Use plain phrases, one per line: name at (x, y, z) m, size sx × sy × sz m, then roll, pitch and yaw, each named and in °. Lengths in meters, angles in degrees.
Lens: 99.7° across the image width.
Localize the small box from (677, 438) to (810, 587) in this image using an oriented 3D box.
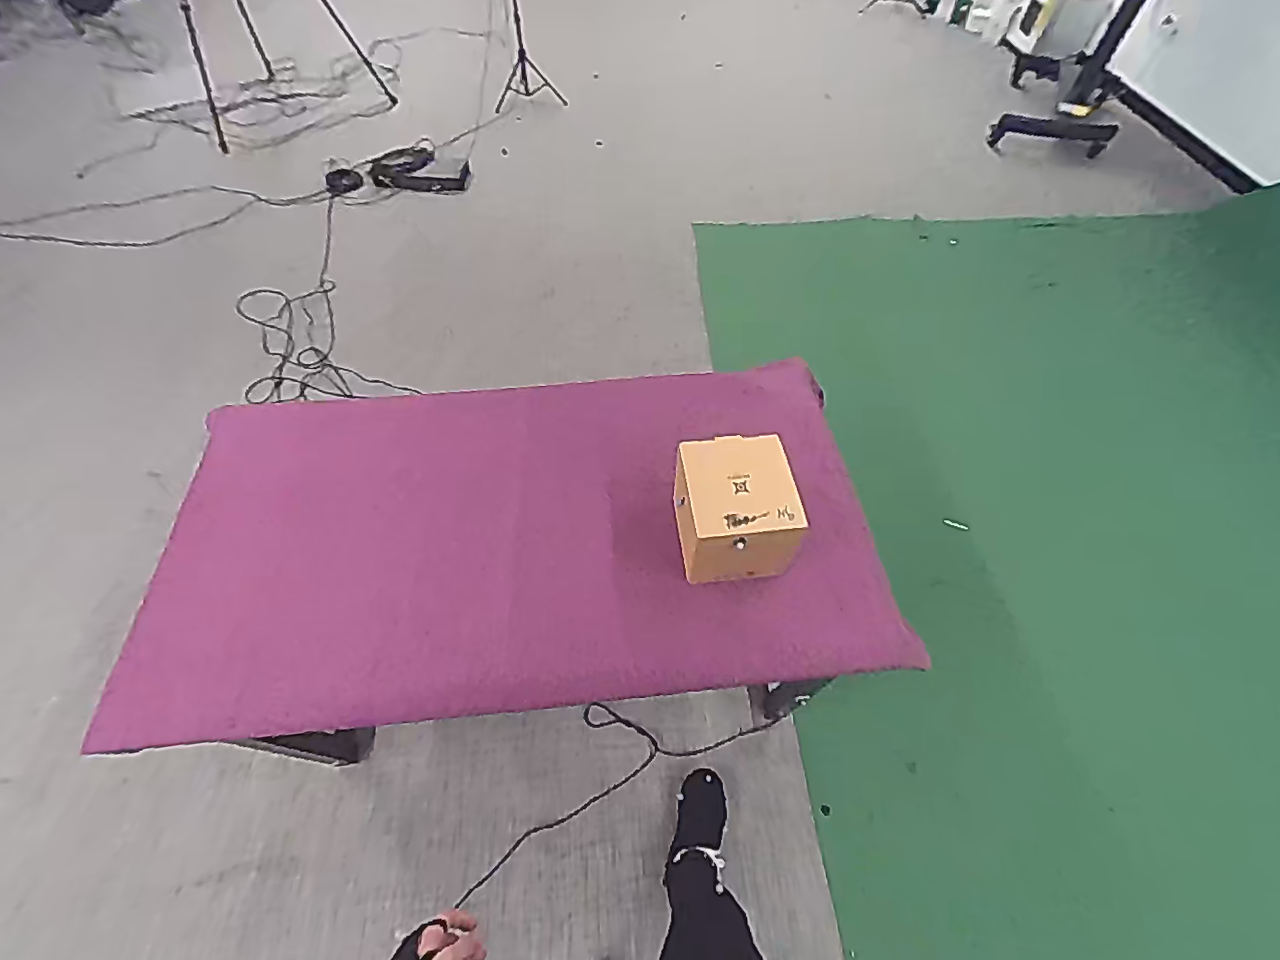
small box at (0.154, 0.055, 0.880) m, size 0.168 × 0.176 × 0.179 m, roll -6°, pitch 55°, yaw -3°
